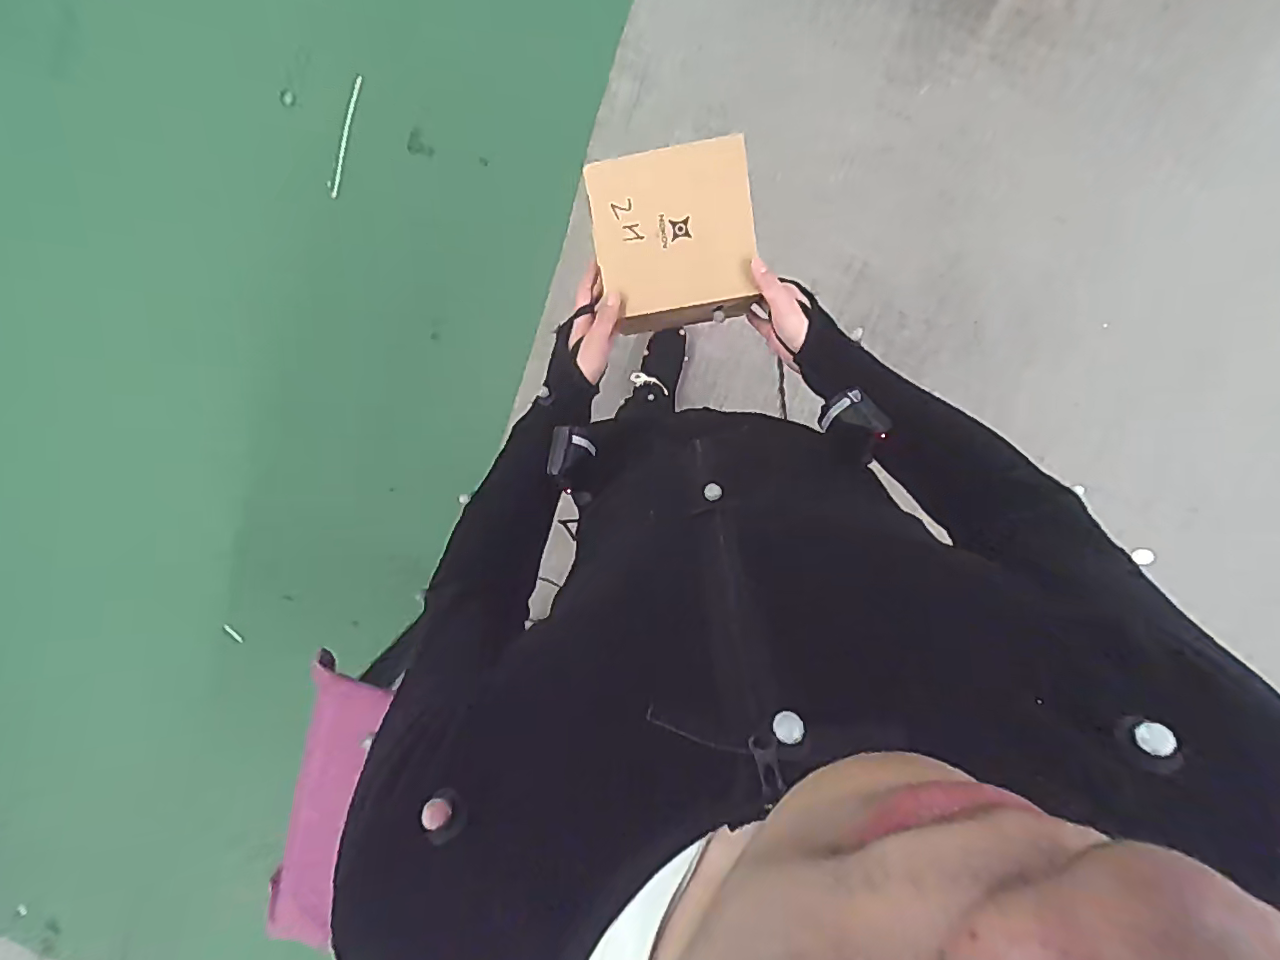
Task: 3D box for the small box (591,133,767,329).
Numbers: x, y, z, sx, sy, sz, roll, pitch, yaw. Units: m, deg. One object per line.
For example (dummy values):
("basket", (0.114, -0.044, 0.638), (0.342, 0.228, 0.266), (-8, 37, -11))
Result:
("small box", (0.048, -0.285, 0.657), (0.179, 0.176, 0.168), (-7, 99, 6))
